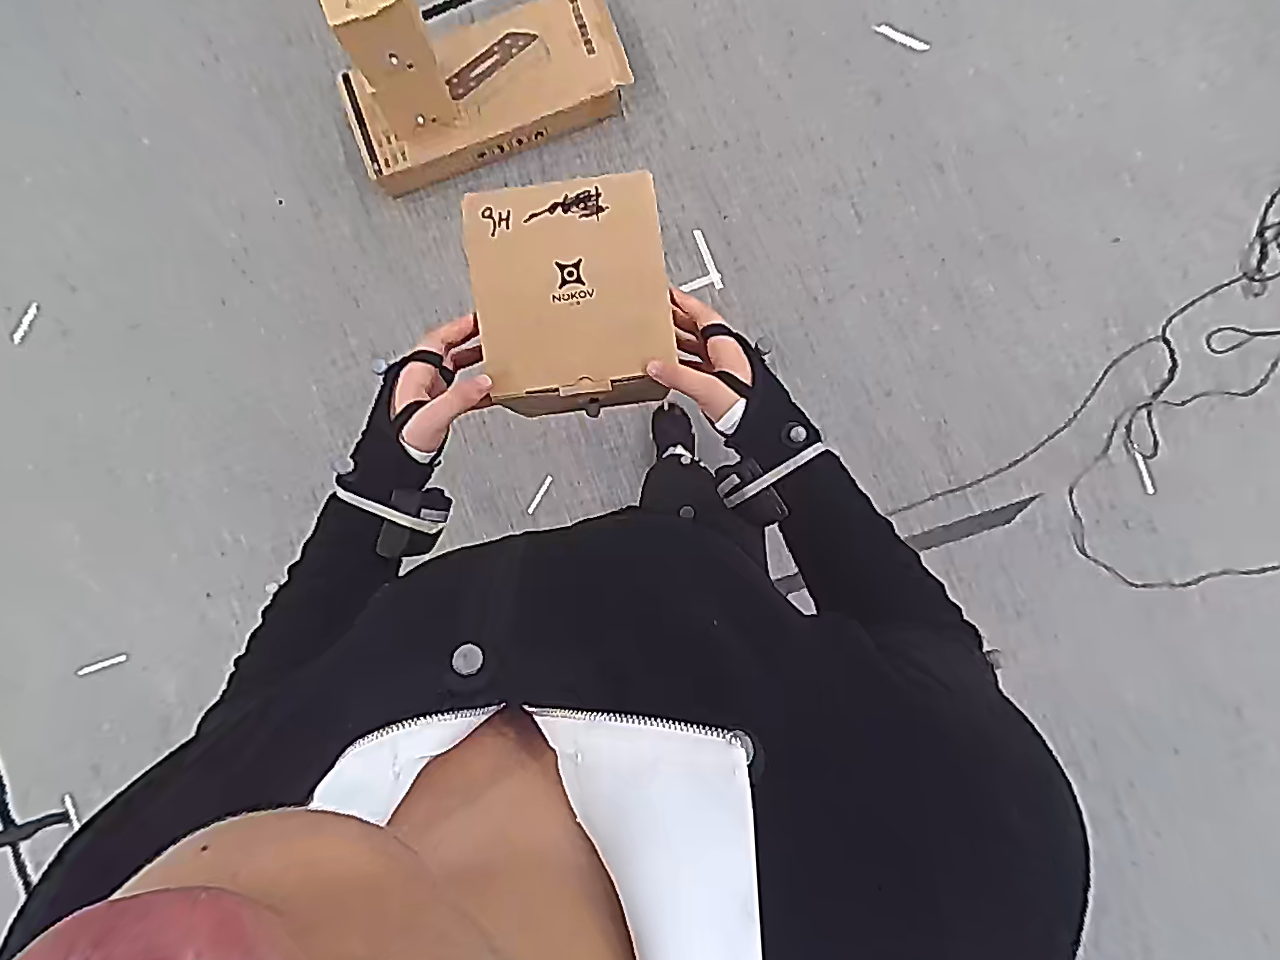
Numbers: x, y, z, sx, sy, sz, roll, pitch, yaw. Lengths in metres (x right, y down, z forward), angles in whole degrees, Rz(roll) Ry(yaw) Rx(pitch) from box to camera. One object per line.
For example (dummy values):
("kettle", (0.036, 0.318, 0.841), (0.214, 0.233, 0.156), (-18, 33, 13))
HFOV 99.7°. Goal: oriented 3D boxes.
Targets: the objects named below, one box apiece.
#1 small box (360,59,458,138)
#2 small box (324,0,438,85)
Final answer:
("small box", (-0.578, -1.002, 1.338), (0.168, 0.176, 0.179), (-21, 89, 2))
("small box", (-0.569, -1.017, 1.173), (0.168, 0.176, 0.179), (-19, 89, 2))
